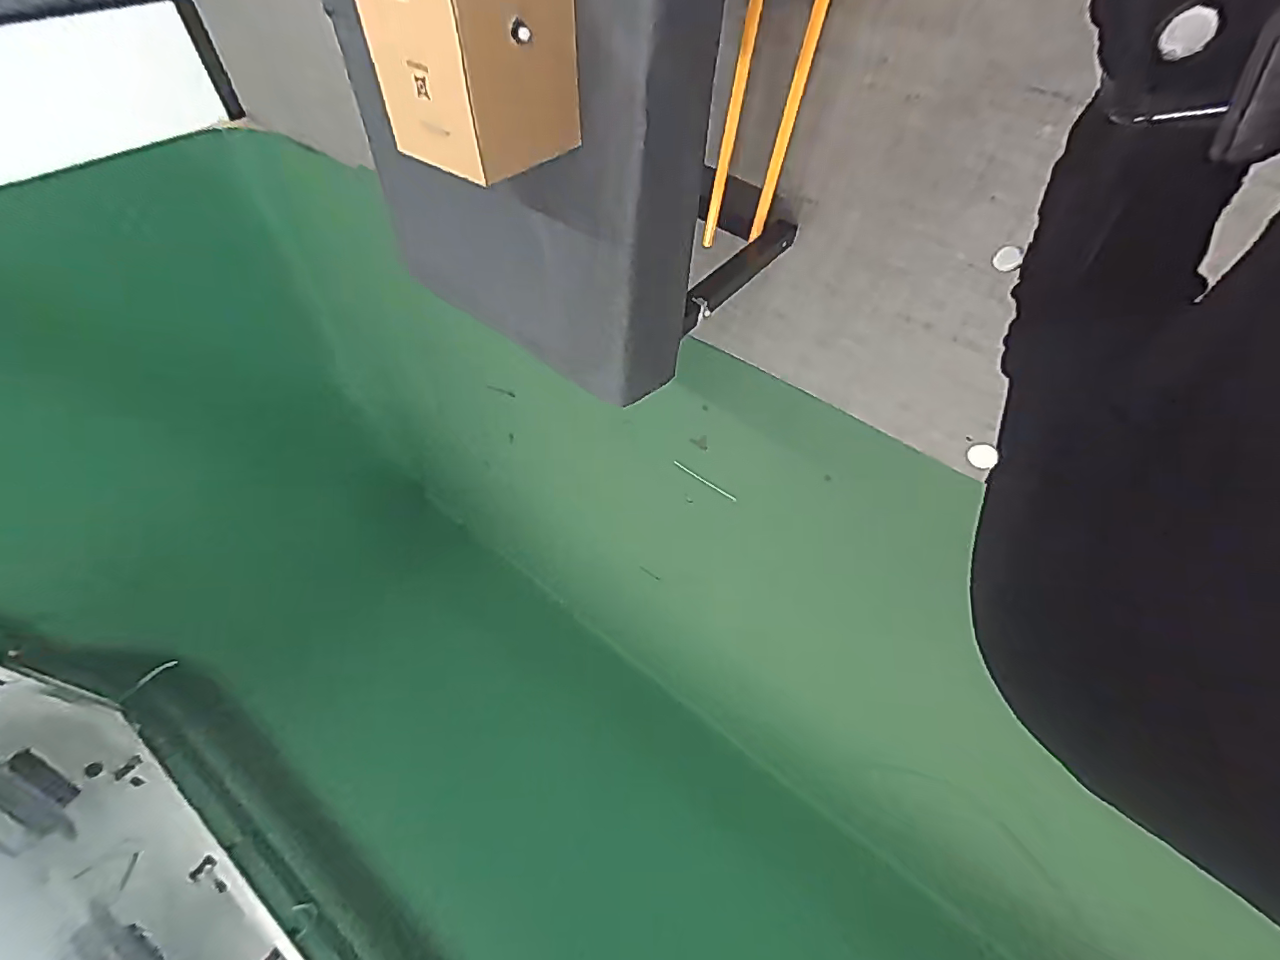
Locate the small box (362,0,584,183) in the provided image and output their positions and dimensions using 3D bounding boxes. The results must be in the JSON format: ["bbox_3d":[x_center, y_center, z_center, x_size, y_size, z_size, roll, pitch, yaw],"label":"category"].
[{"bbox_3d":[-0.182,-0.485,0.629,0.168,0.176,0.179,32,148,23],"label":"small box"}]
